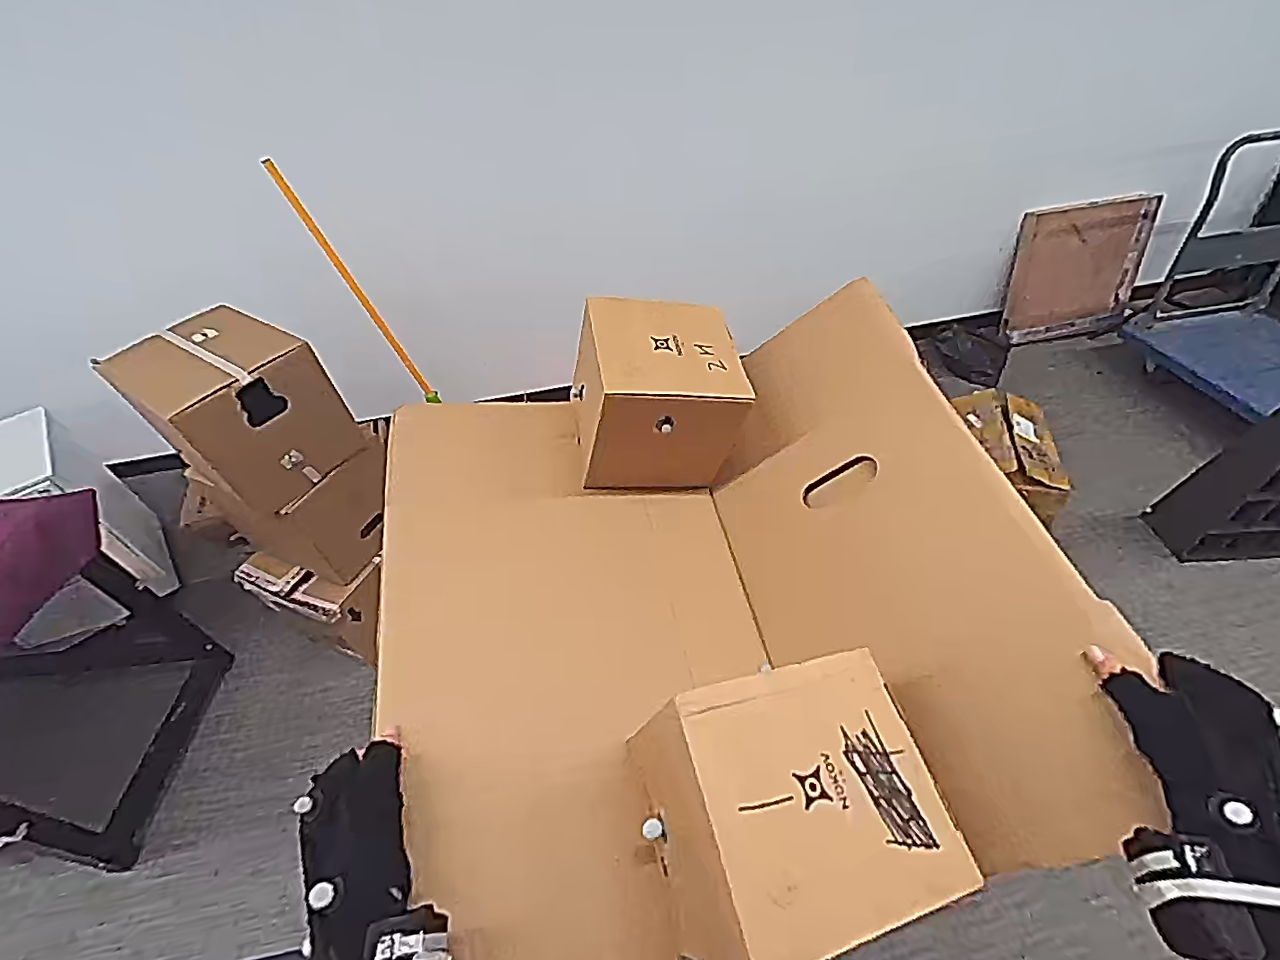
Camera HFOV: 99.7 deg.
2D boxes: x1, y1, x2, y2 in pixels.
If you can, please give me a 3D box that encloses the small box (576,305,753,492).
[{"bbox_3d":[0.015,-0.097,0.685,0.179,0.176,0.168,1,54,-16],"label":"small box"}]
